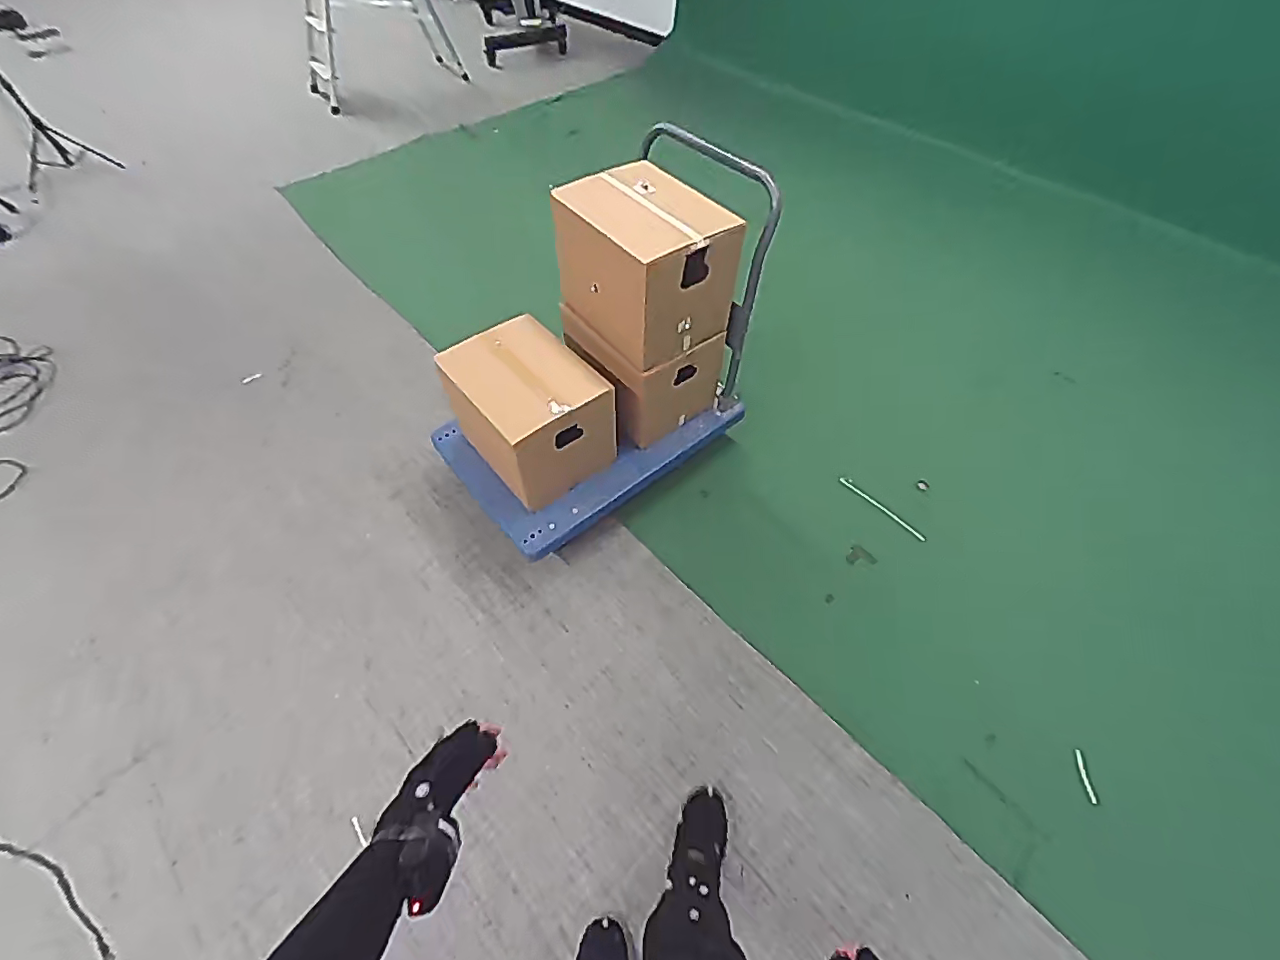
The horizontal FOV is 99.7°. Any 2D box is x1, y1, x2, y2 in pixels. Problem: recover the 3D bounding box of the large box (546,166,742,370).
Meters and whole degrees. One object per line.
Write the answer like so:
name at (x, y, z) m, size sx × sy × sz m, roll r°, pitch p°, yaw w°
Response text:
large box at (0.006, -0.564, 1.435) m, size 0.320 × 0.320 × 0.408 m, roll -31°, pitch 59°, yaw -23°
